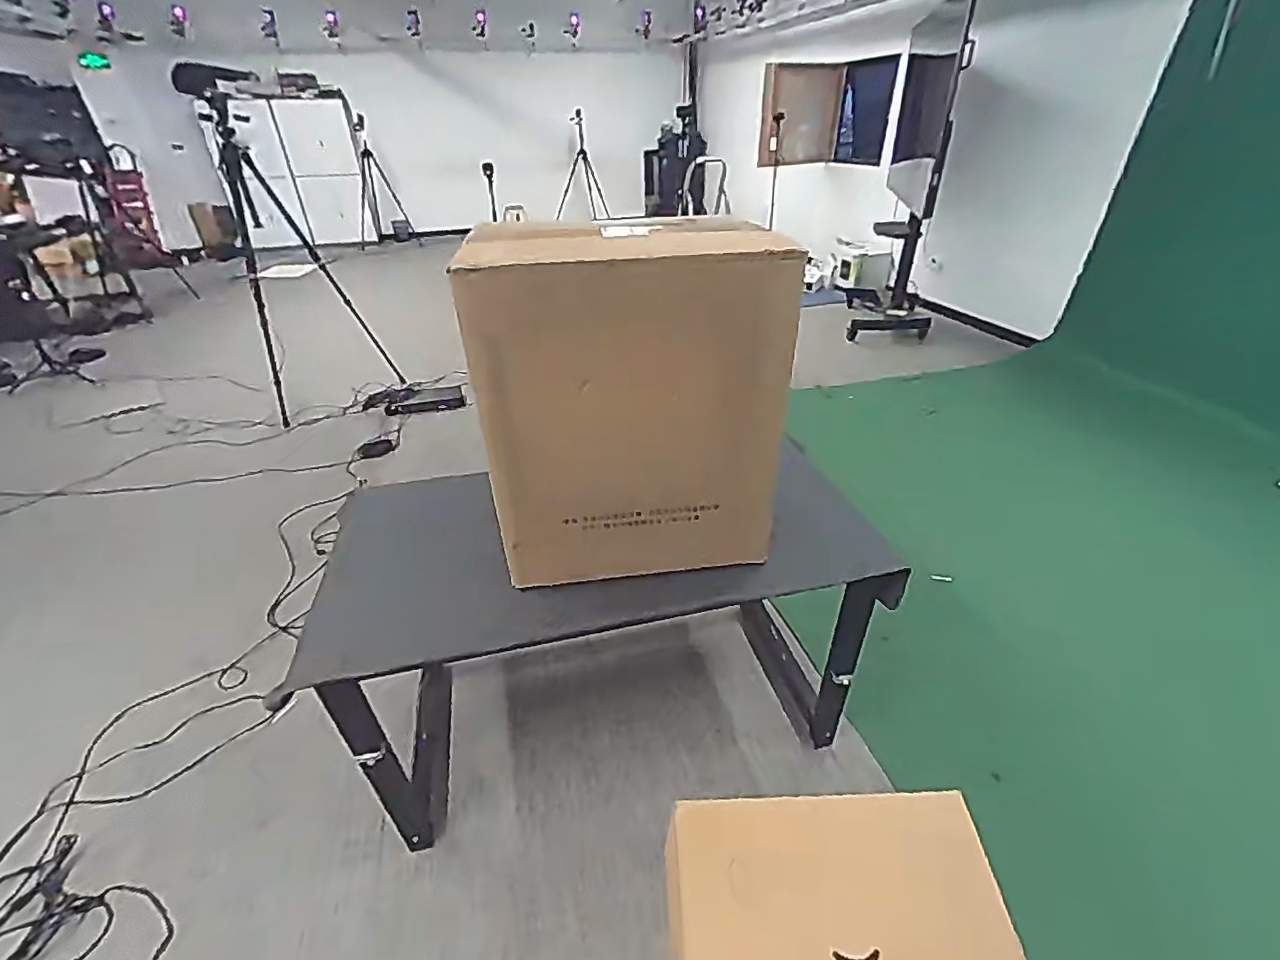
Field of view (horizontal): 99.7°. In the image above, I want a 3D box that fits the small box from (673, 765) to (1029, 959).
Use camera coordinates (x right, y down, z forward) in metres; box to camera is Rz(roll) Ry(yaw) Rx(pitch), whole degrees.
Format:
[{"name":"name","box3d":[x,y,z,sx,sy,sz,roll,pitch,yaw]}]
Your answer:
[{"name":"small box","box3d":[0.110,0.292,0.327,0.168,0.176,0.179,-1,48,-1]}]
